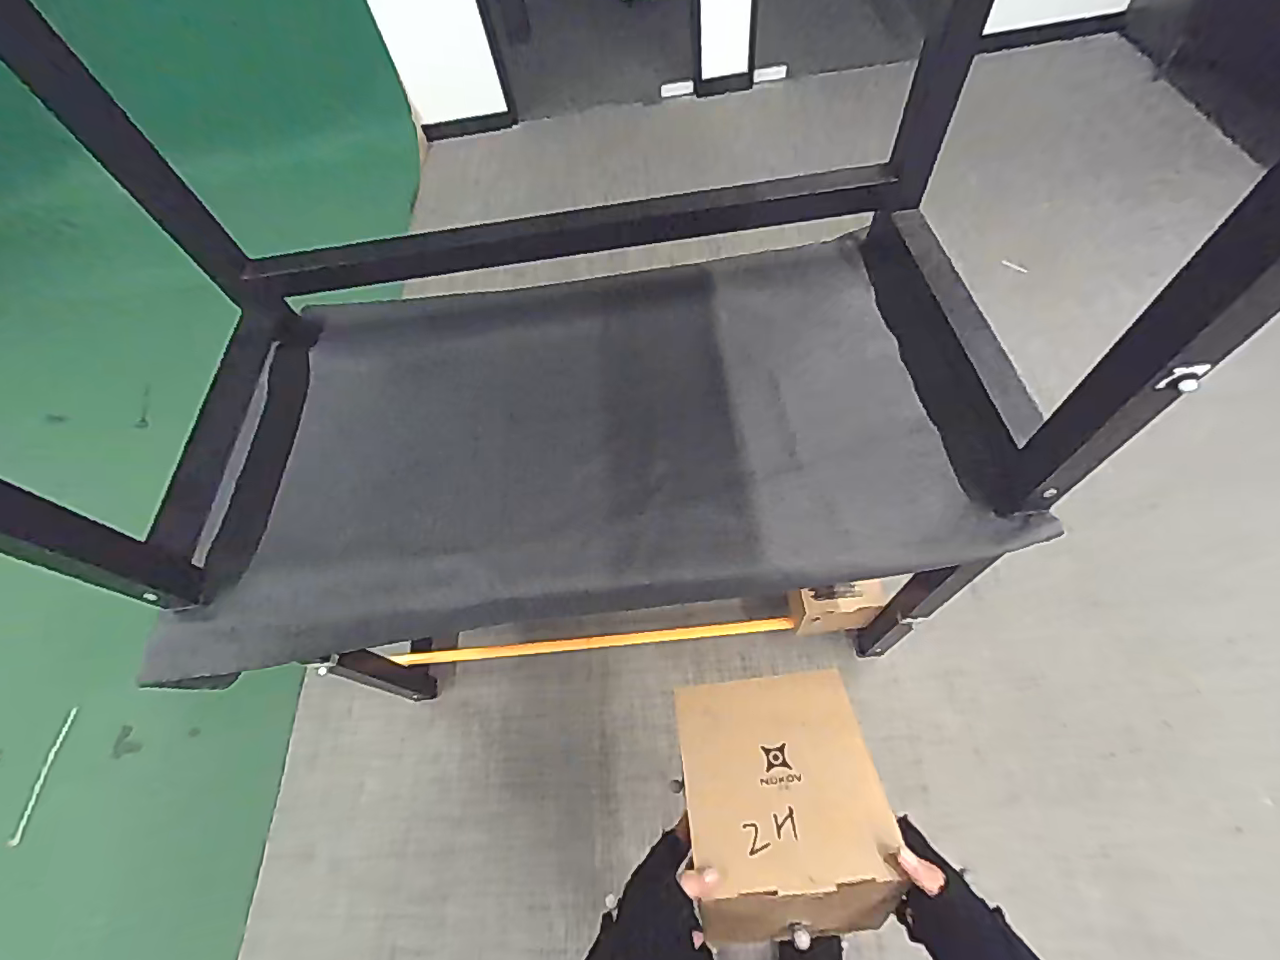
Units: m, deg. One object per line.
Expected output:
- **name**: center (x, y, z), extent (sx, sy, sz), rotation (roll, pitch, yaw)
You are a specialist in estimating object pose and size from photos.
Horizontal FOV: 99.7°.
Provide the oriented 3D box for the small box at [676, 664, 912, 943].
- **small box**: center (0.129, 0.308, 0.520), extent (0.168, 0.176, 0.179), rotation (-9, 39, 2)
